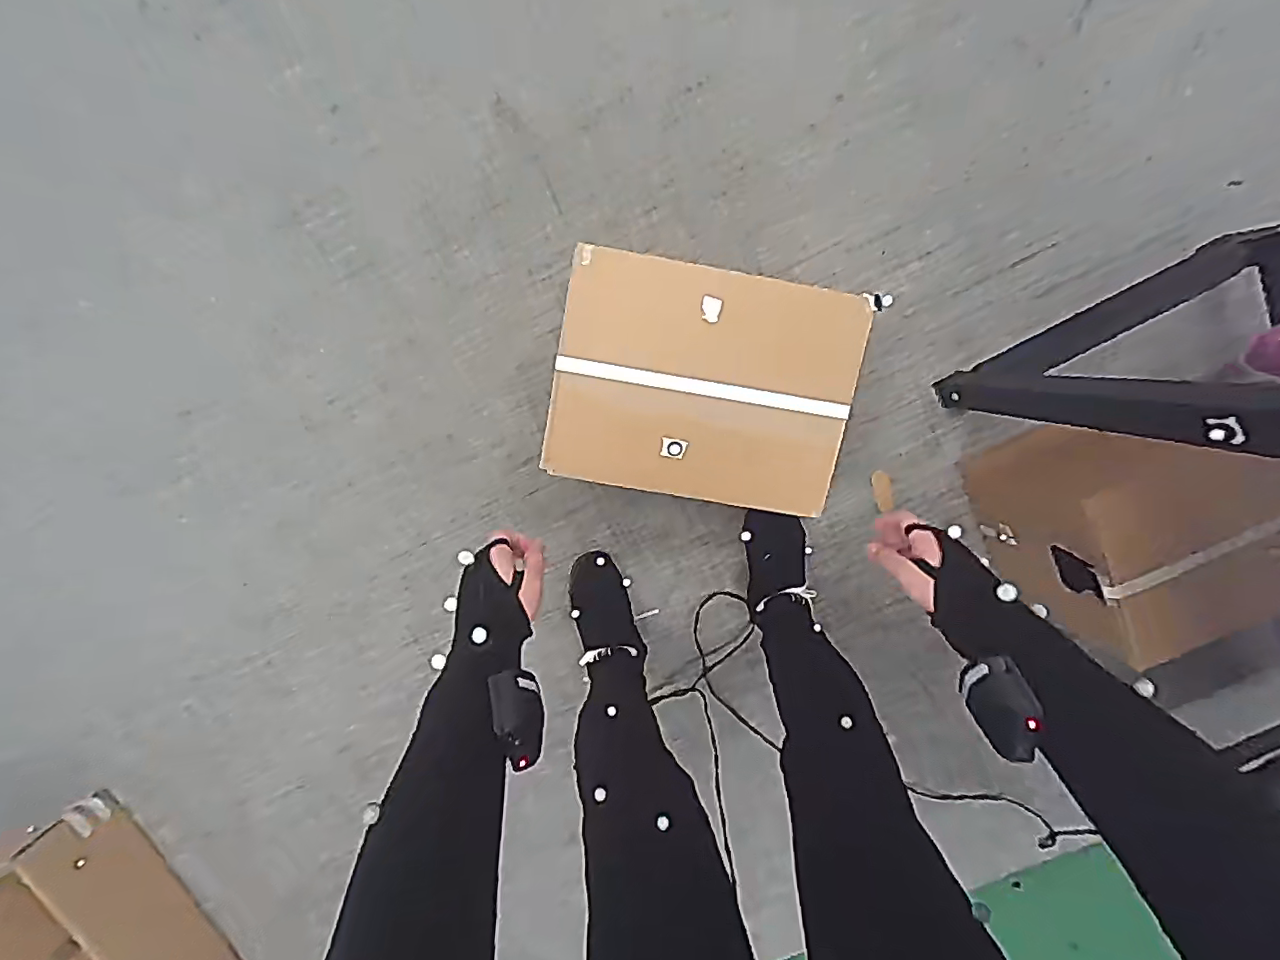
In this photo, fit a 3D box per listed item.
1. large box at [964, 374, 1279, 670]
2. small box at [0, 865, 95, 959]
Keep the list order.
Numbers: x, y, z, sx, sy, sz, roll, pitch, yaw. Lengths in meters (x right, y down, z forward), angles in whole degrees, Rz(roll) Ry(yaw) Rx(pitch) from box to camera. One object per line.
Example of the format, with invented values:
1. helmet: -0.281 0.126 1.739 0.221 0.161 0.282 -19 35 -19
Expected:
1. large box: 0.876 0.044 0.930 0.408 0.320 0.320 -26 102 4
2. small box: -1.315 0.941 1.115 0.168 0.176 0.179 -29 102 5
